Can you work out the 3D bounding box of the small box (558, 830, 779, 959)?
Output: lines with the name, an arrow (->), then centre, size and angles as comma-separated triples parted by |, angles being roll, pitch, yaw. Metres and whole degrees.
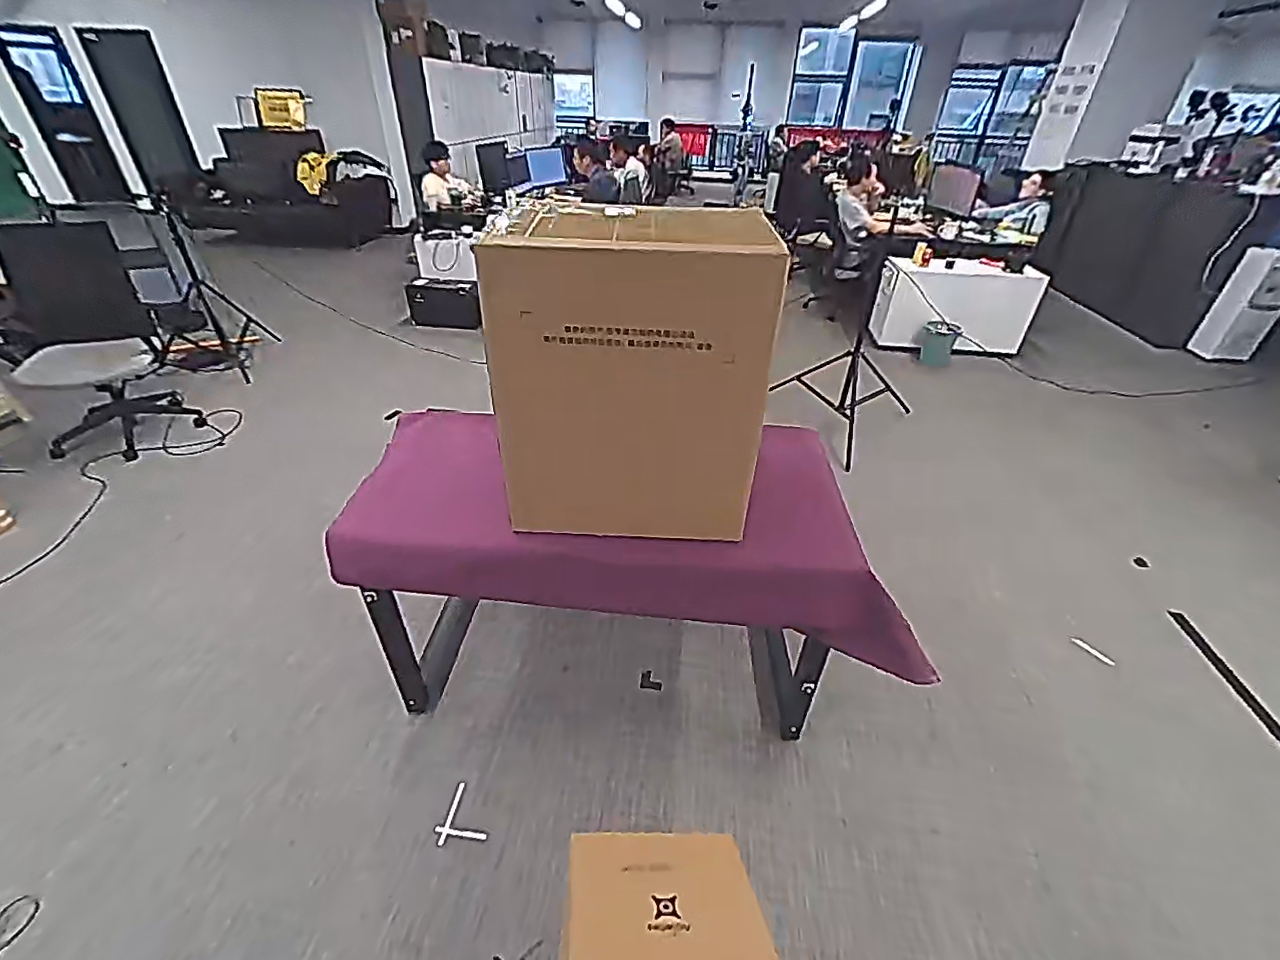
small box -> 0.014, 0.438, 0.457 | 0.168, 0.176, 0.179 | 7, 4, -7
